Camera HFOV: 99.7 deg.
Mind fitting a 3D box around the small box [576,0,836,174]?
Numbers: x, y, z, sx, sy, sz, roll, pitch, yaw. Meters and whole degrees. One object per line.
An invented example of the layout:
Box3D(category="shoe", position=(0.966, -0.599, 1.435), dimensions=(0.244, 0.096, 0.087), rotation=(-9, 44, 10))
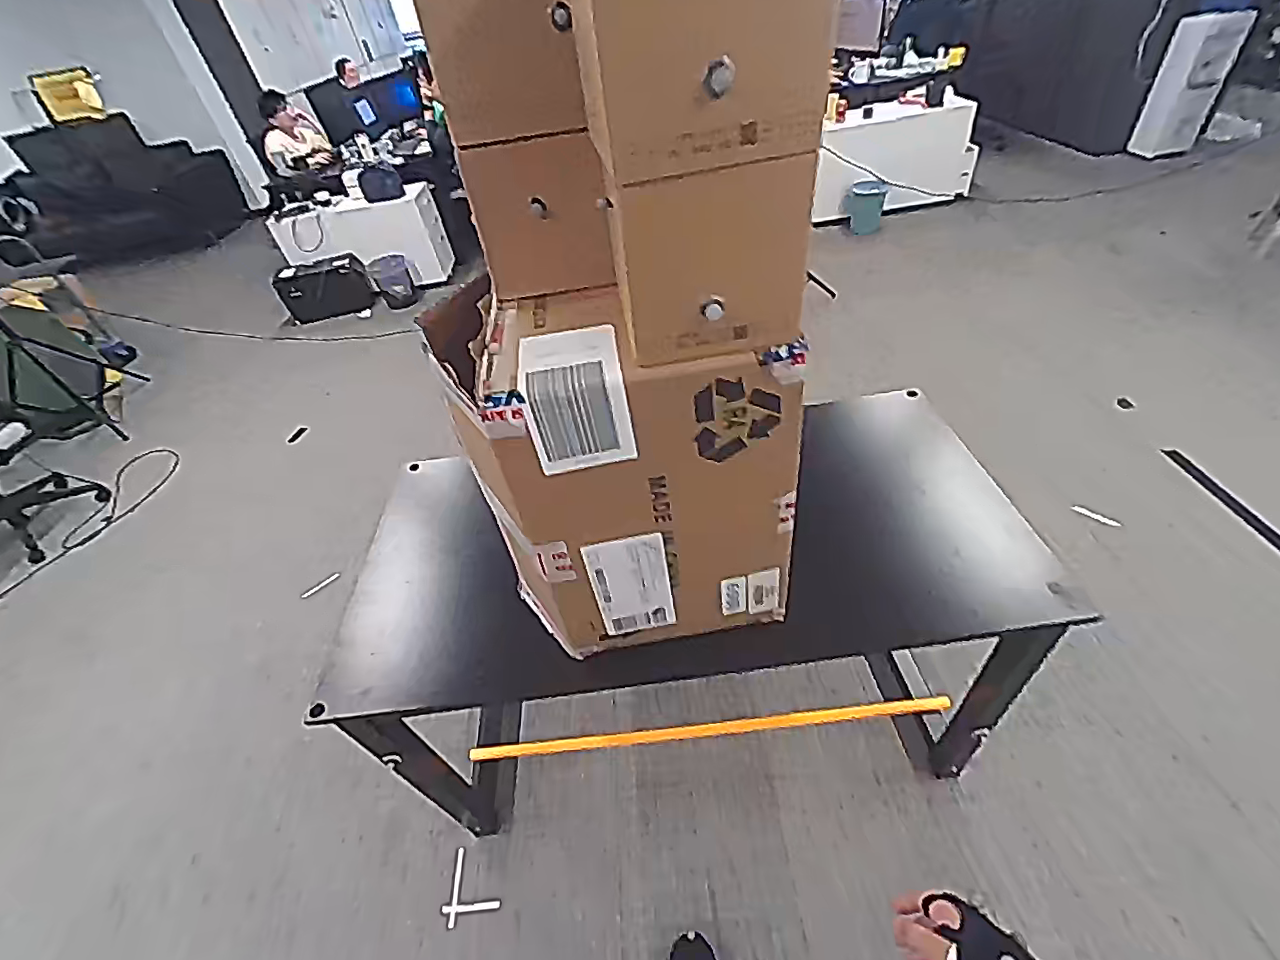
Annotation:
Box3D(category="small box", position=(0.039, -0.357, 0.420), dimensions=(0.168, 0.176, 0.179), rotation=(-12, 44, -3))

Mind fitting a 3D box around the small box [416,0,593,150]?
Box3D(category="small box", position=(-0.123, -0.464, 0.565), dimensions=(0.179, 0.176, 0.168), rotation=(-12, 40, -3))

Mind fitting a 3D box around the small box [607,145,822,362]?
Box3D(category="small box", position=(0.060, -0.240, 0.535), dimensions=(0.168, 0.176, 0.179), rotation=(-9, 44, -1))

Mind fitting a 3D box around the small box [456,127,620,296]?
Box3D(category="small box", position=(-0.106, -0.345, 0.675), dimensions=(0.179, 0.176, 0.168), rotation=(-10, 41, -1))
